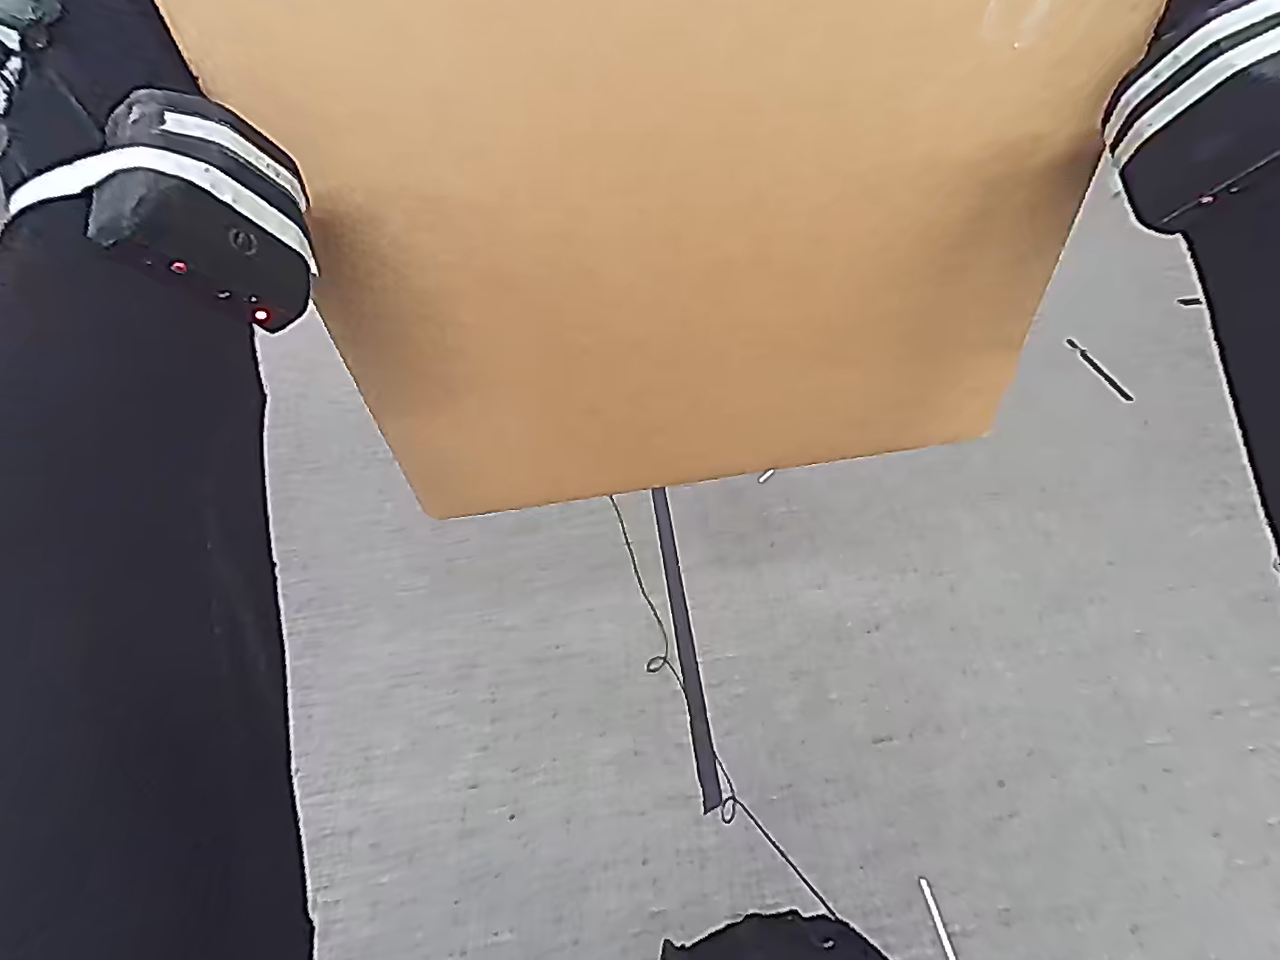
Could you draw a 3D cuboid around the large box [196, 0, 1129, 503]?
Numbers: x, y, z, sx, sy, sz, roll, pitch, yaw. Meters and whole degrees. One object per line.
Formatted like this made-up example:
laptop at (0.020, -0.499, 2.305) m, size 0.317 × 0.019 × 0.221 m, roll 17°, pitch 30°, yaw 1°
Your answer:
large box at (0.014, -0.217, 0.400) m, size 0.408 × 0.320 × 0.320 m, roll -8°, pitch 42°, yaw -3°
